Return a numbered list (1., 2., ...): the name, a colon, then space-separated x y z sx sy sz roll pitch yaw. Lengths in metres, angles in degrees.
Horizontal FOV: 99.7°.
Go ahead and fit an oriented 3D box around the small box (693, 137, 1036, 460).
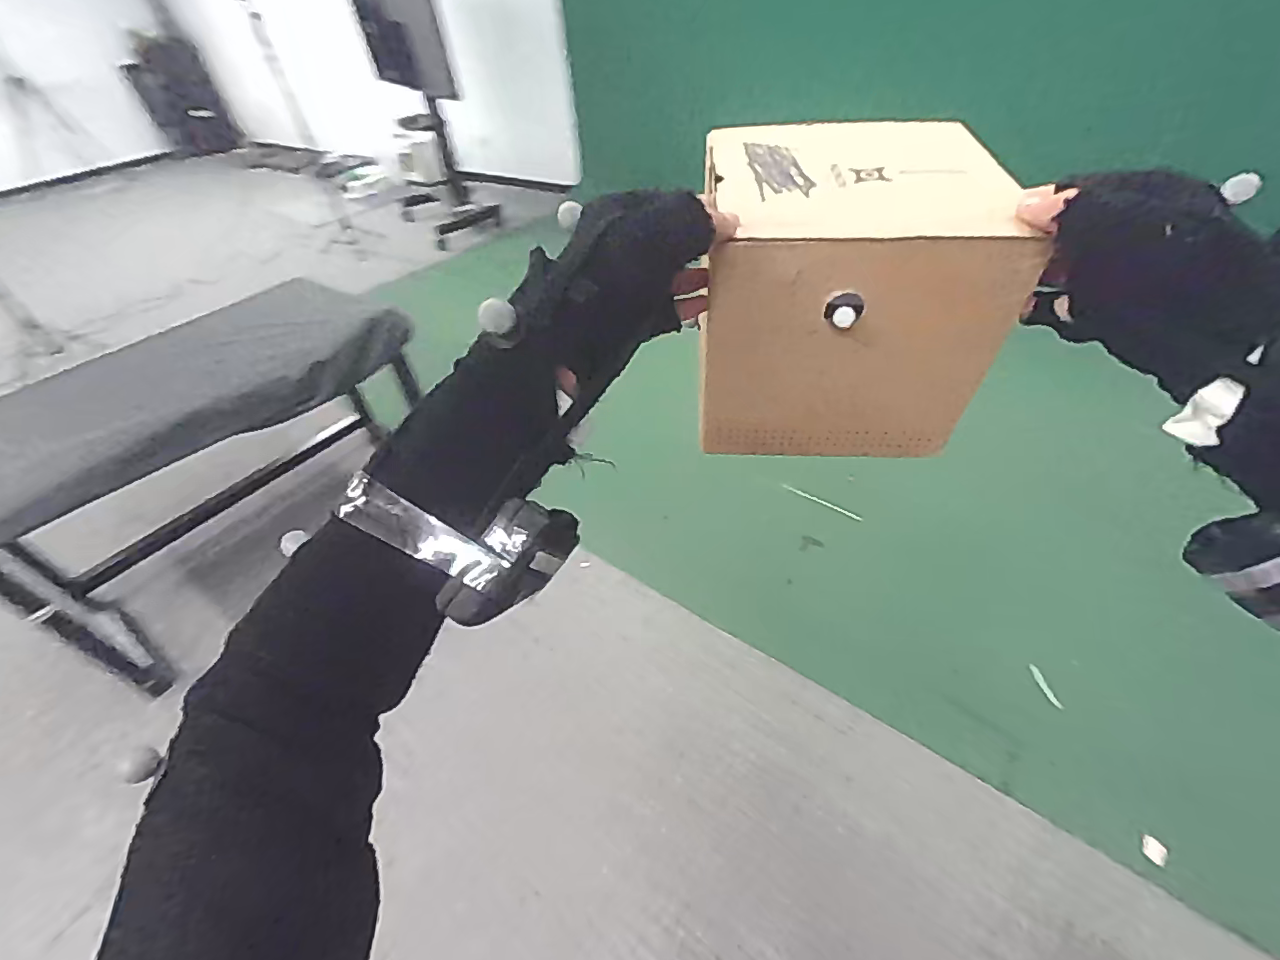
1. small box: 0.129 -0.129 0.398 0.179 0.176 0.168 2 50 3
